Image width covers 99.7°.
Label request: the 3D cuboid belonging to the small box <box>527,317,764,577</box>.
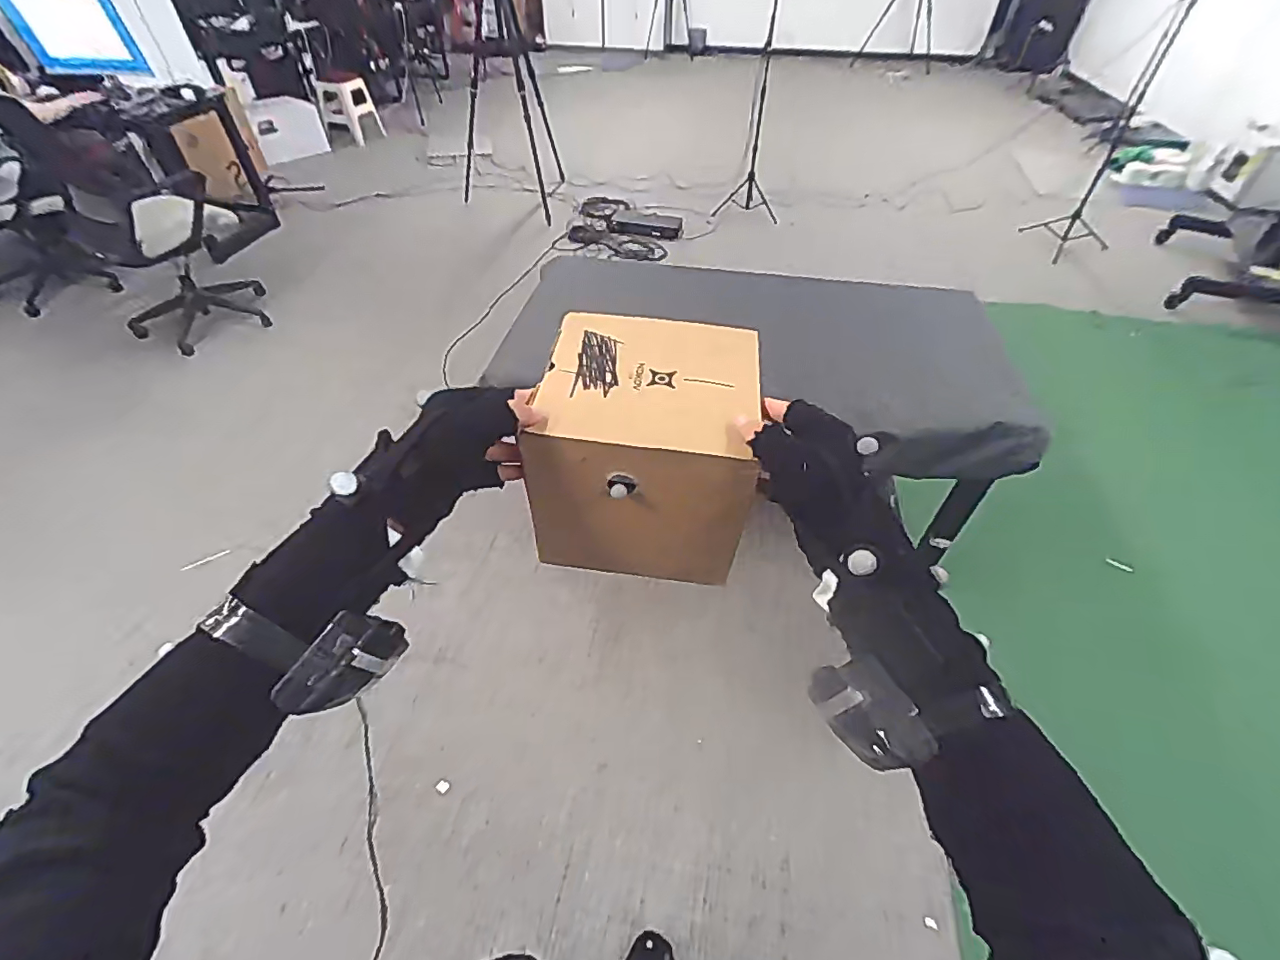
[{"bbox_3d":[0.010,-0.027,0.498,0.179,0.176,0.168,7,48,3],"label":"small box"}]
